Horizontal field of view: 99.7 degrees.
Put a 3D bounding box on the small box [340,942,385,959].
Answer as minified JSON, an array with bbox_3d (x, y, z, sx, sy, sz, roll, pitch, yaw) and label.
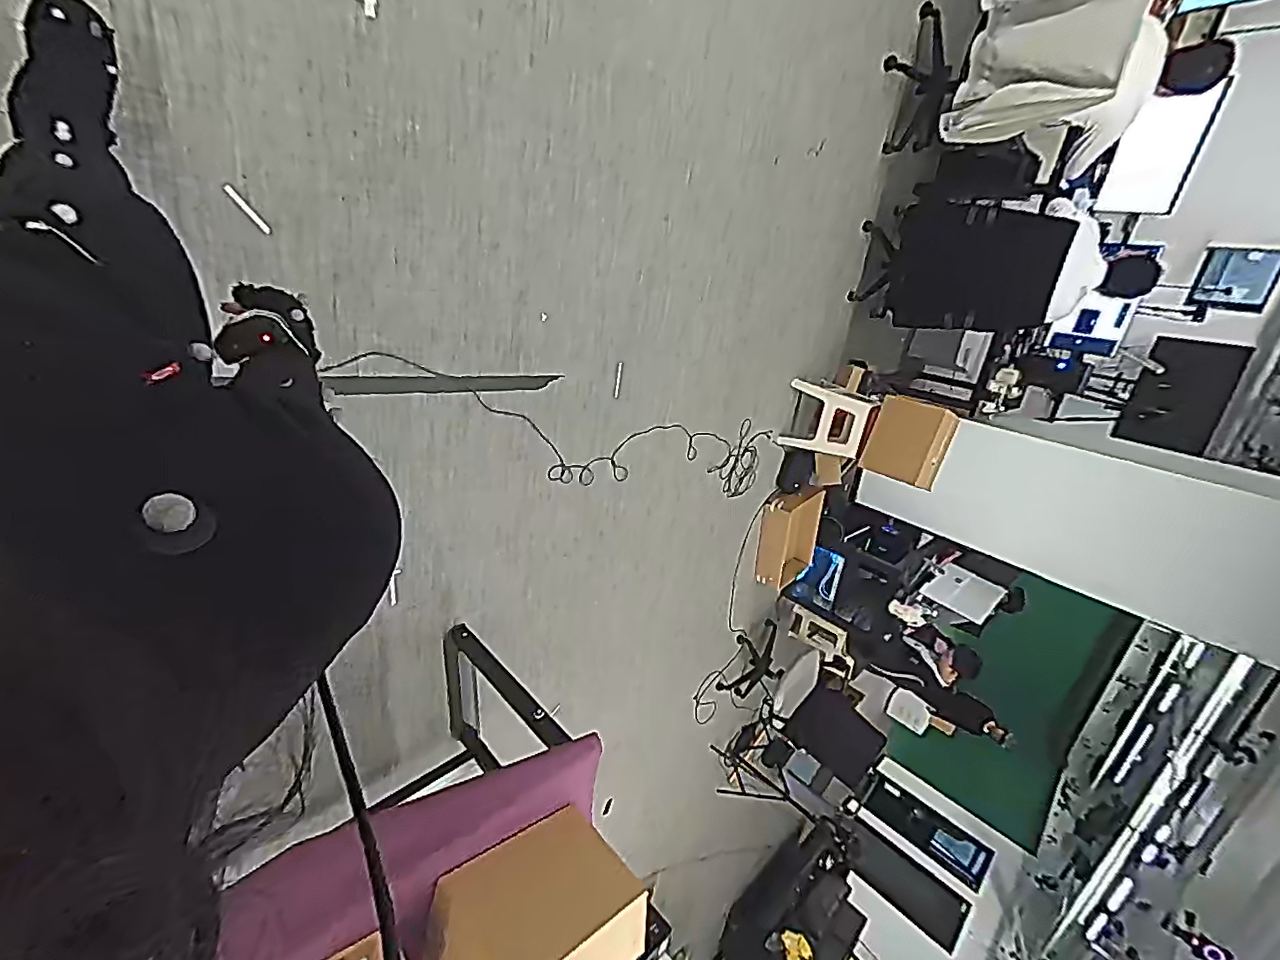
[{"bbox_3d":[-0.579,1.078,1.057,0.168,0.176,0.179,6,105,-50],"label":"small box"}]
